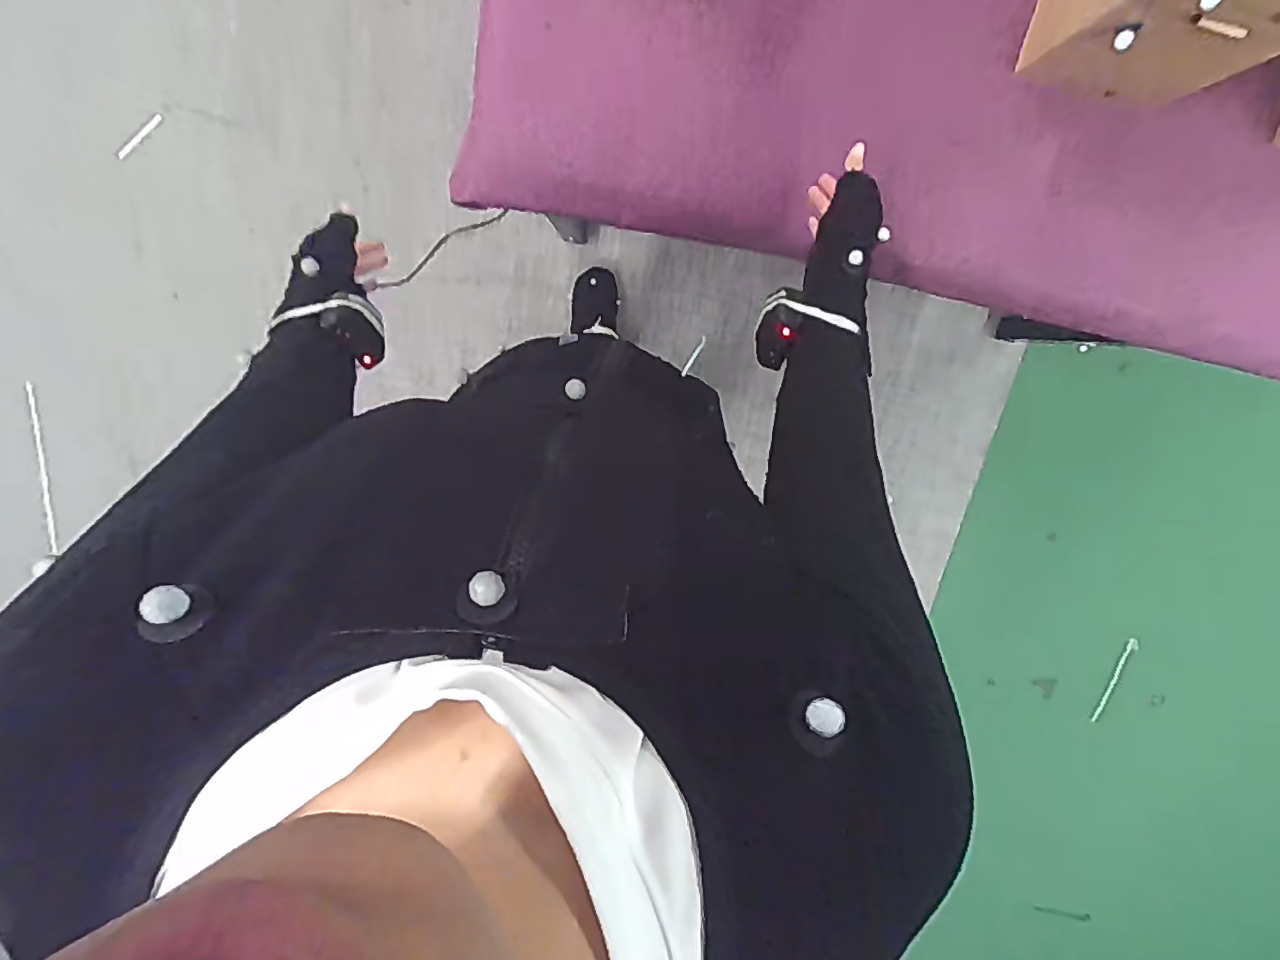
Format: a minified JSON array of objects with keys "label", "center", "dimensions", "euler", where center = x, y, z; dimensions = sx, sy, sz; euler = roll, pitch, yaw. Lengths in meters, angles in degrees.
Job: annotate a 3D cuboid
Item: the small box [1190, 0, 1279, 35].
[{"label":"small box","center":[0.525,-0.447,0.363],"dimensions":[0.168,0.176,0.179],"euler":[11,104,-5]}]
